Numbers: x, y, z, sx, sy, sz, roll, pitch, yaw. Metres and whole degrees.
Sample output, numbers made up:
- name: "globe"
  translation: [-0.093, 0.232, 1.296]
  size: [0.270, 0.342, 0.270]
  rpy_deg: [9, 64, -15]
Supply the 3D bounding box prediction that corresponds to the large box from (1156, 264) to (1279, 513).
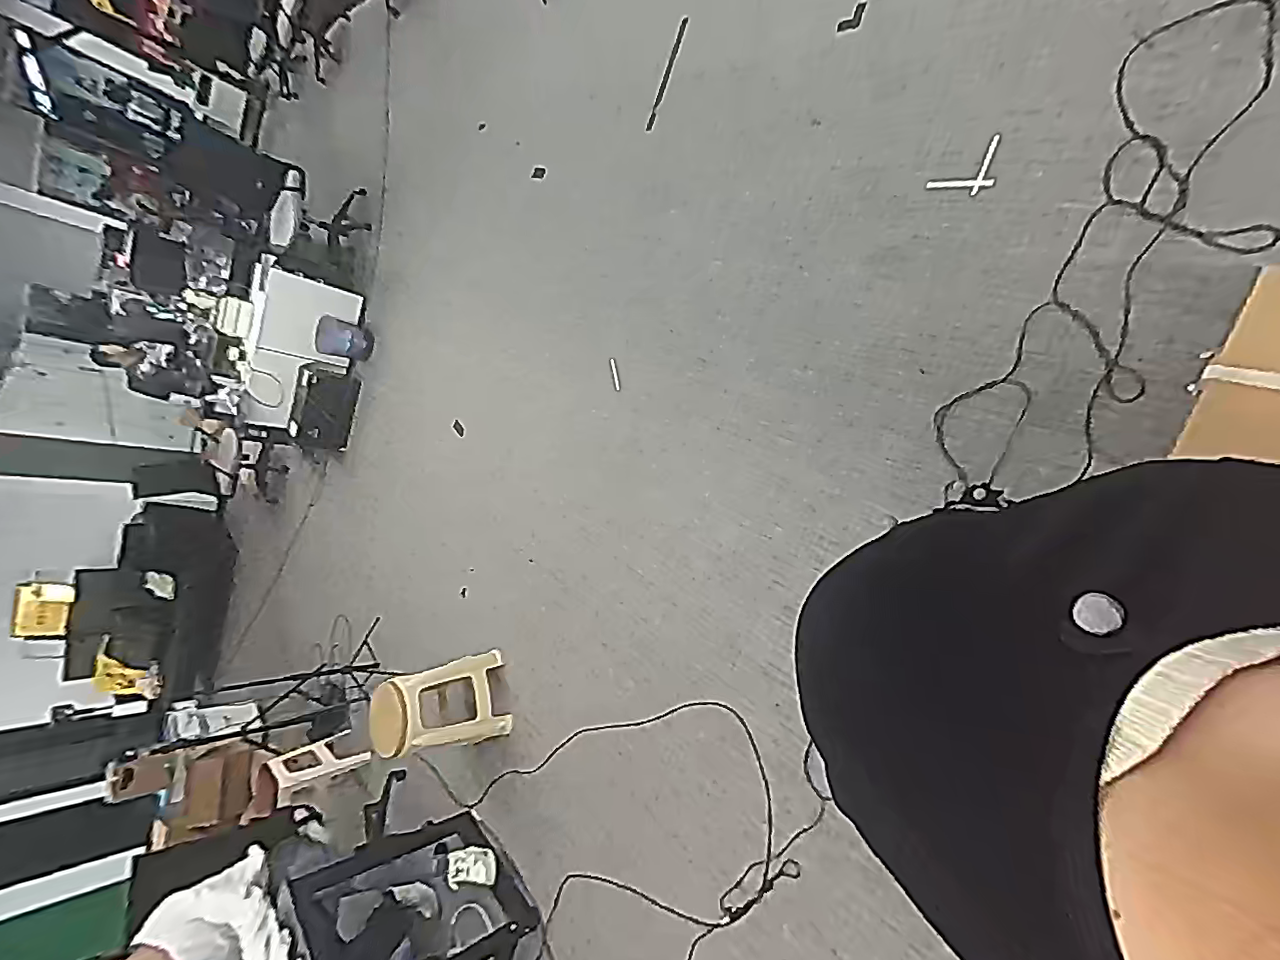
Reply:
- name: "large box"
  translation: [1.077, -0.090, 0.782]
  size: [0.408, 0.320, 0.320]
  rpy_deg: [26, 103, 40]
